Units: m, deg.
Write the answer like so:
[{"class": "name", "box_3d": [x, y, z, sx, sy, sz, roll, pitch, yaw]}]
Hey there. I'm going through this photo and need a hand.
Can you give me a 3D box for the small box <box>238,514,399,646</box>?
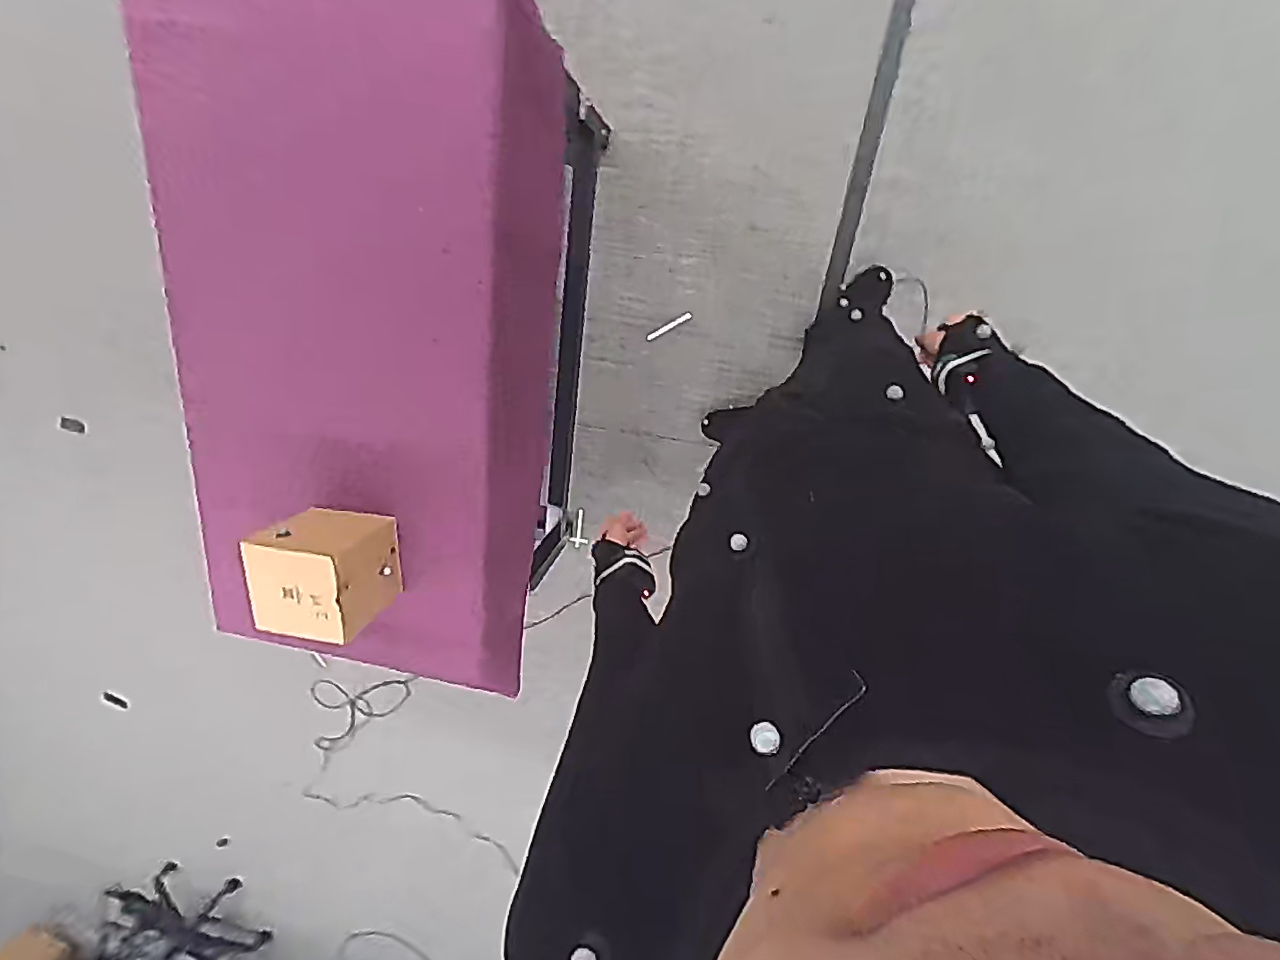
[{"class": "small box", "box_3d": [-0.563, 0.169, 0.968, 0.179, 0.176, 0.168, 6, 109, 8]}]
